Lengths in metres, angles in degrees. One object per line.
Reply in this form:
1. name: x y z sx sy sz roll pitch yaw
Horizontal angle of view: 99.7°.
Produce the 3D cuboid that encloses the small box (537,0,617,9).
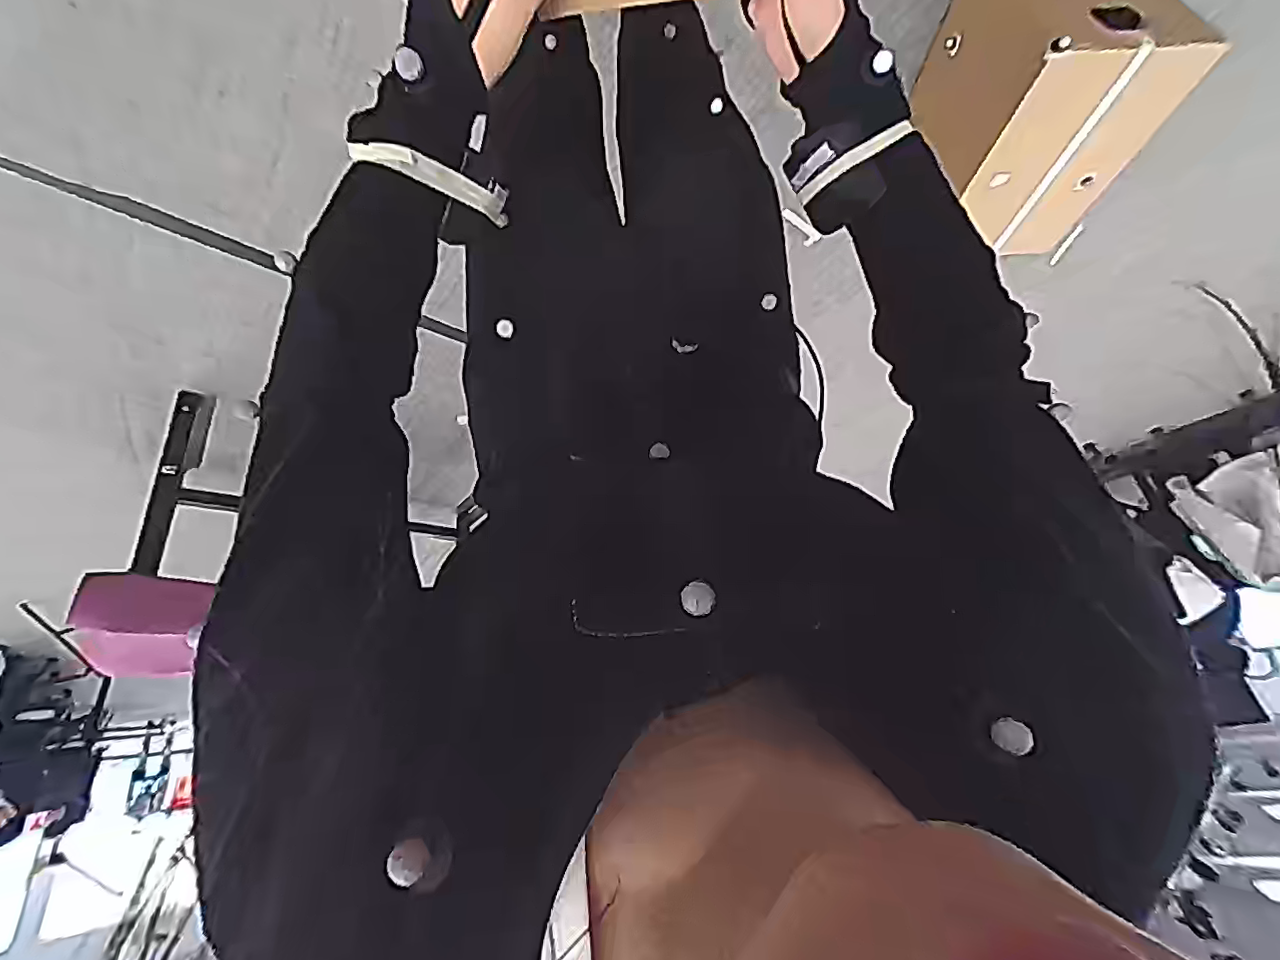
1. small box: -0.007 -0.436 0.326 0.168 0.176 0.179 -10 152 -3
